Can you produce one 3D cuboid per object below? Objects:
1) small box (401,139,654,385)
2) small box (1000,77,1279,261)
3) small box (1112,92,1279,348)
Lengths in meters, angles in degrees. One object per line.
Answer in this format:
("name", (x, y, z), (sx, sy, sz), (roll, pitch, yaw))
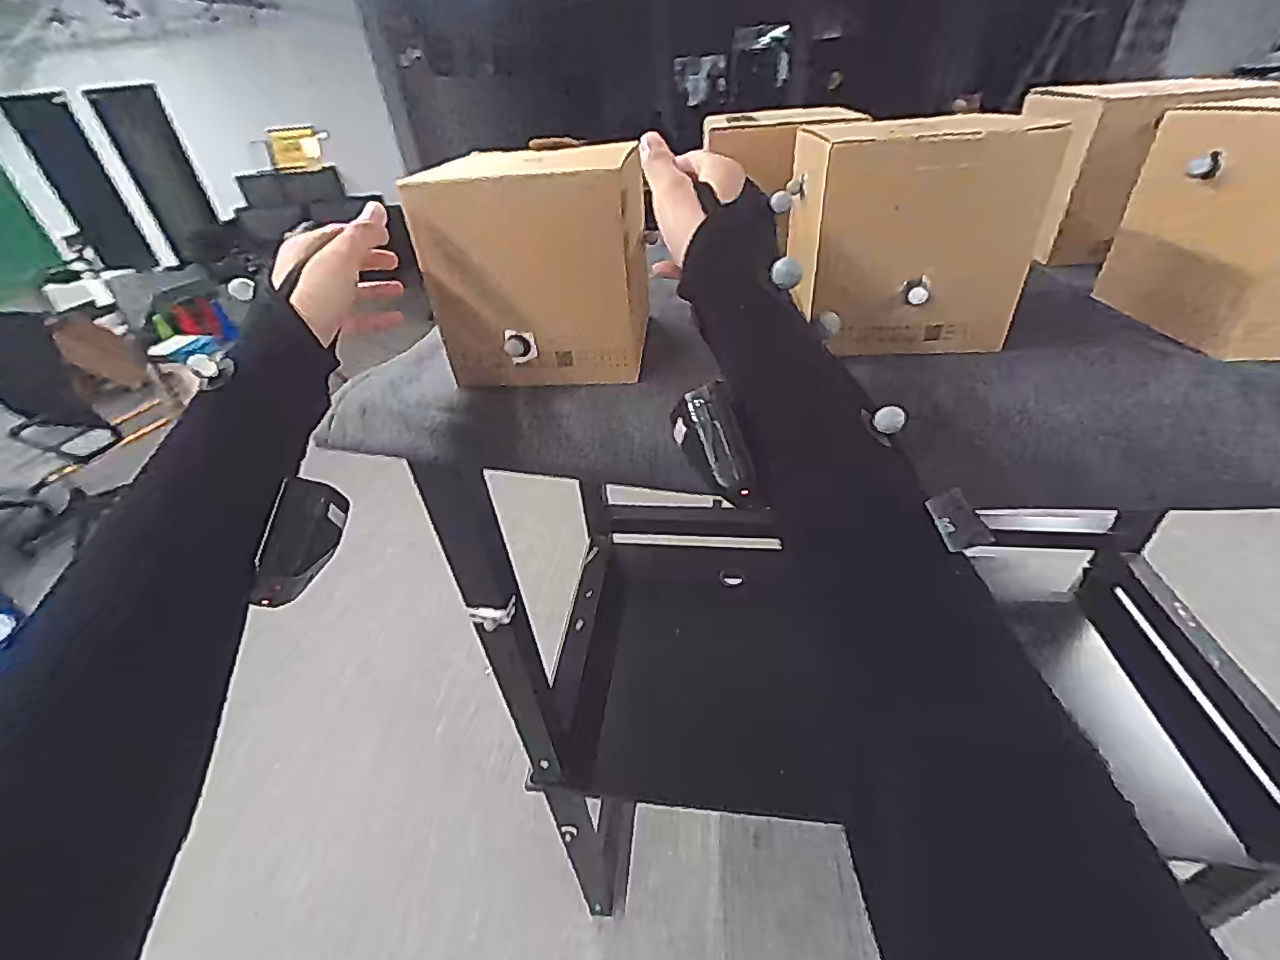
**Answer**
("small box", (-0.076, -0.195, 0.480), (0.168, 0.176, 0.179), (-1, 35, 6))
("small box", (0.568, -0.367, 0.643), (0.168, 0.176, 0.179), (0, 36, 7))
("small box", (0.534, -0.203, 0.421), (0.168, 0.176, 0.179), (0, 34, 7))
